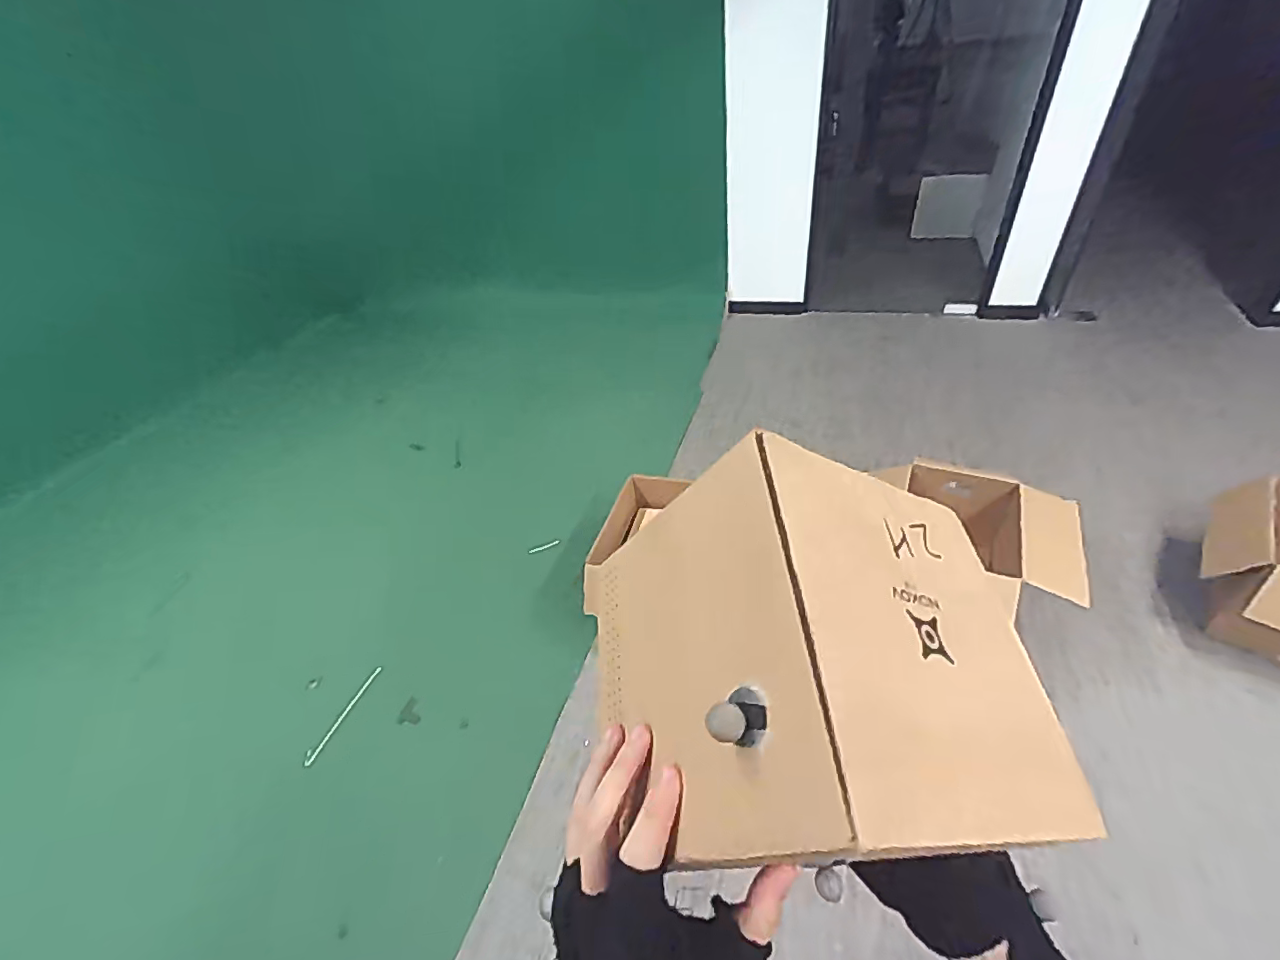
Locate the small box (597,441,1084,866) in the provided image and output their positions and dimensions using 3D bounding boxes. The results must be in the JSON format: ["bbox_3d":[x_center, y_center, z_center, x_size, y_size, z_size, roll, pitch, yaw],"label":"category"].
[{"bbox_3d":[0.084,0.113,0.311,0.168,0.176,0.179,18,48,-25],"label":"small box"}]
